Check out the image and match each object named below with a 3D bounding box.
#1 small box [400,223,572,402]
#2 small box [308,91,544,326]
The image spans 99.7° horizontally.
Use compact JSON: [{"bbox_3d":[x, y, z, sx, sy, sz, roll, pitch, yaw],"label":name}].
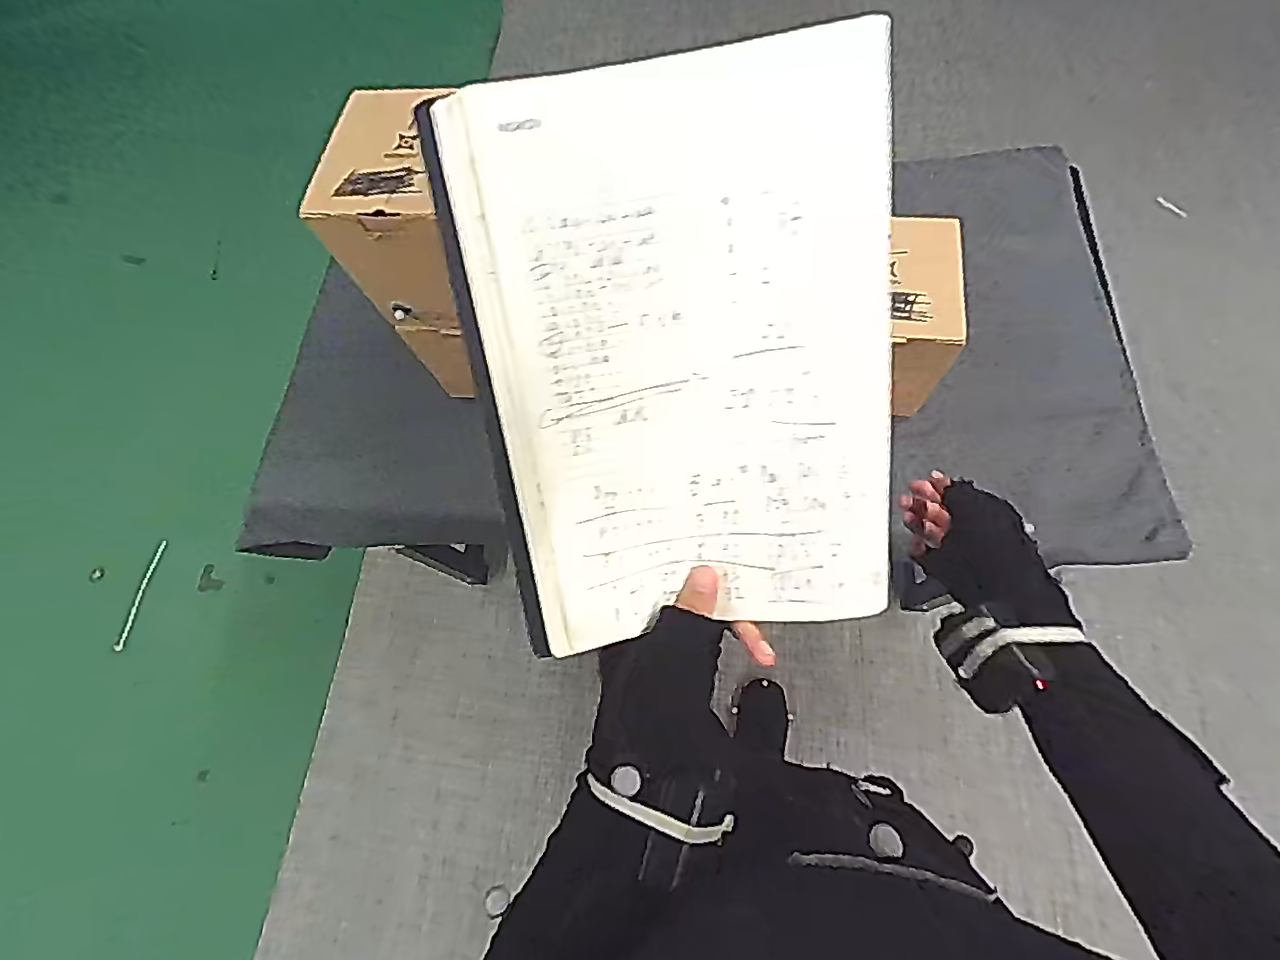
[{"bbox_3d":[-0.199,-0.229,0.757,0.168,0.176,0.179,3,69,8],"label":"small box"},{"bbox_3d":[-0.218,-0.293,0.607,0.168,0.176,0.179,5,68,8],"label":"small box"}]
